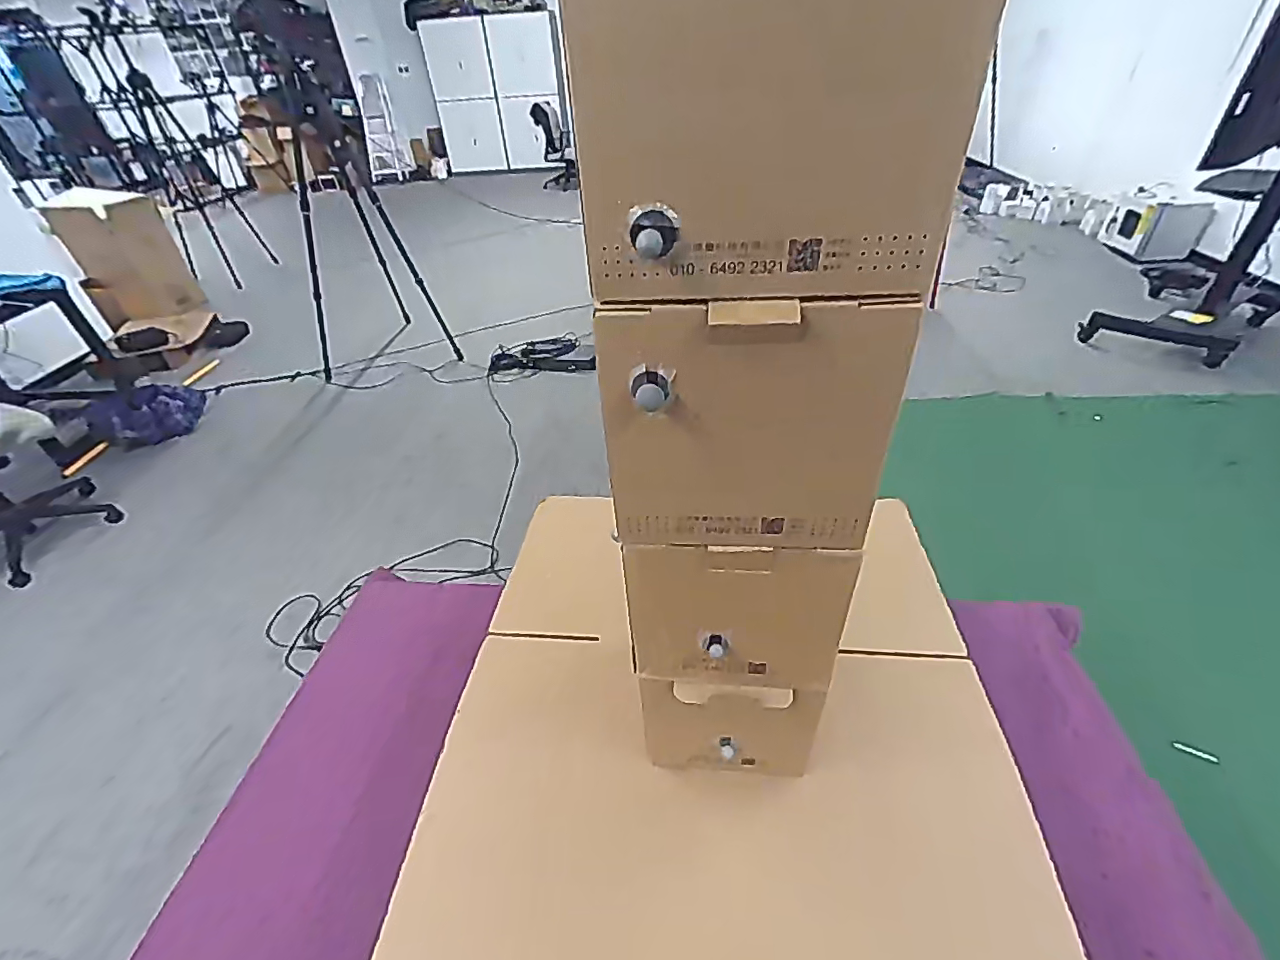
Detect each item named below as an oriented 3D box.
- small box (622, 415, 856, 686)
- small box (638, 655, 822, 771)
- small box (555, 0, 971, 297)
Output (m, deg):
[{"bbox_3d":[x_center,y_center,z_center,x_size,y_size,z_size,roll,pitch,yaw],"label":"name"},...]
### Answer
[{"bbox_3d":[0.080,0.058,0.490,0.168,0.176,0.179,1,38,7],"label":"small box"},{"bbox_3d":[0.092,0.185,0.590,0.168,0.176,0.179,0,38,7],"label":"small box"},{"bbox_3d":[0.059,-0.205,0.292,0.168,0.176,0.179,1,37,7],"label":"small box"}]
